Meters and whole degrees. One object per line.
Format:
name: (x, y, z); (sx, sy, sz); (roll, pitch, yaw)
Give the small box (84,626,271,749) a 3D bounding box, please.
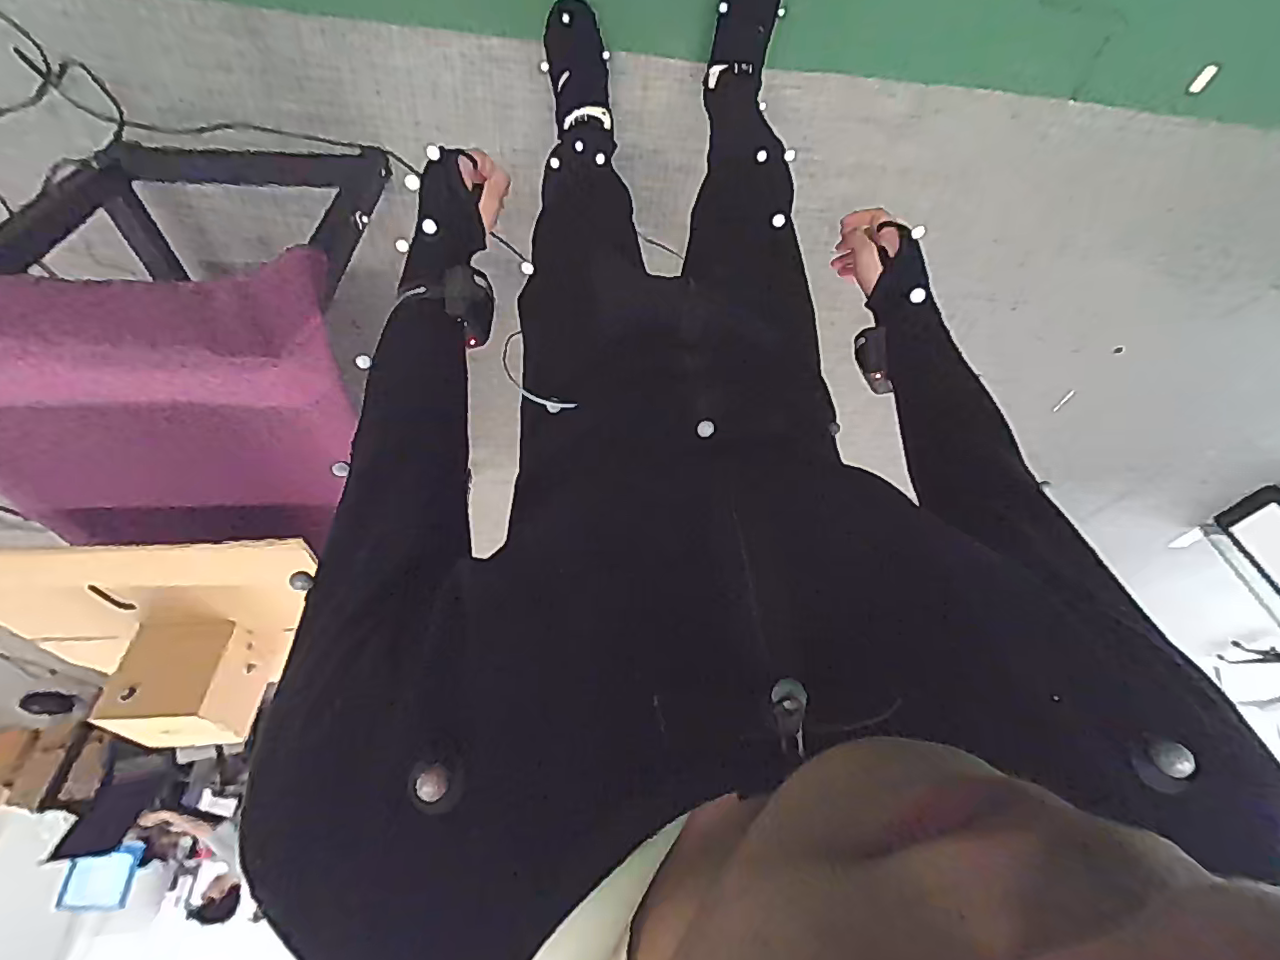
small box: (-0.834, 0.382, 0.999); (0.179, 0.176, 0.168); (0, 140, -6)
